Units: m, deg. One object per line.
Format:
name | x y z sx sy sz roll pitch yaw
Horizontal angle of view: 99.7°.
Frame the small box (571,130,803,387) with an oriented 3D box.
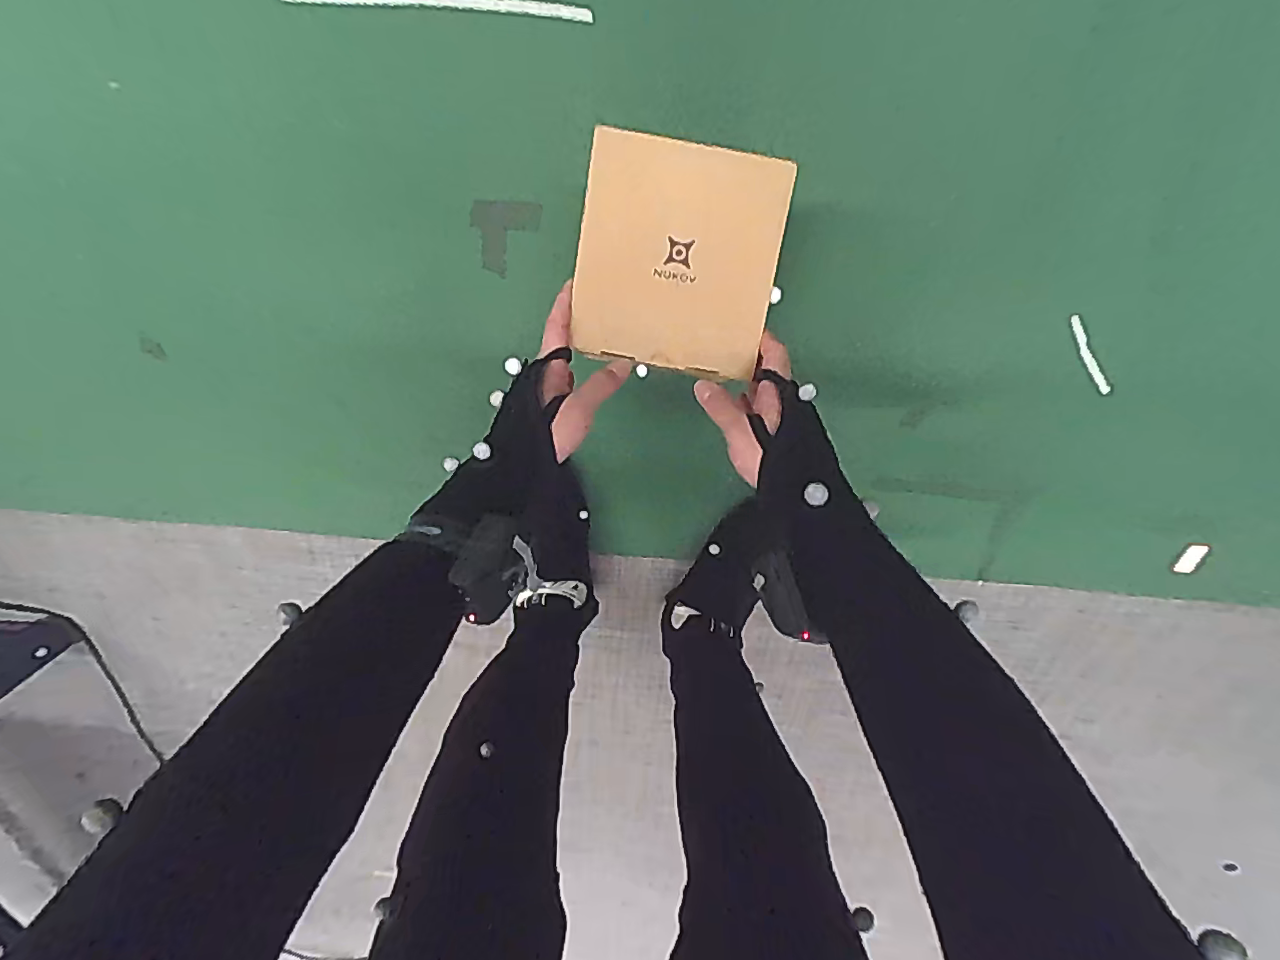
small box | 0.034 -0.192 0.519 0.168 0.176 0.179 9 102 -3
